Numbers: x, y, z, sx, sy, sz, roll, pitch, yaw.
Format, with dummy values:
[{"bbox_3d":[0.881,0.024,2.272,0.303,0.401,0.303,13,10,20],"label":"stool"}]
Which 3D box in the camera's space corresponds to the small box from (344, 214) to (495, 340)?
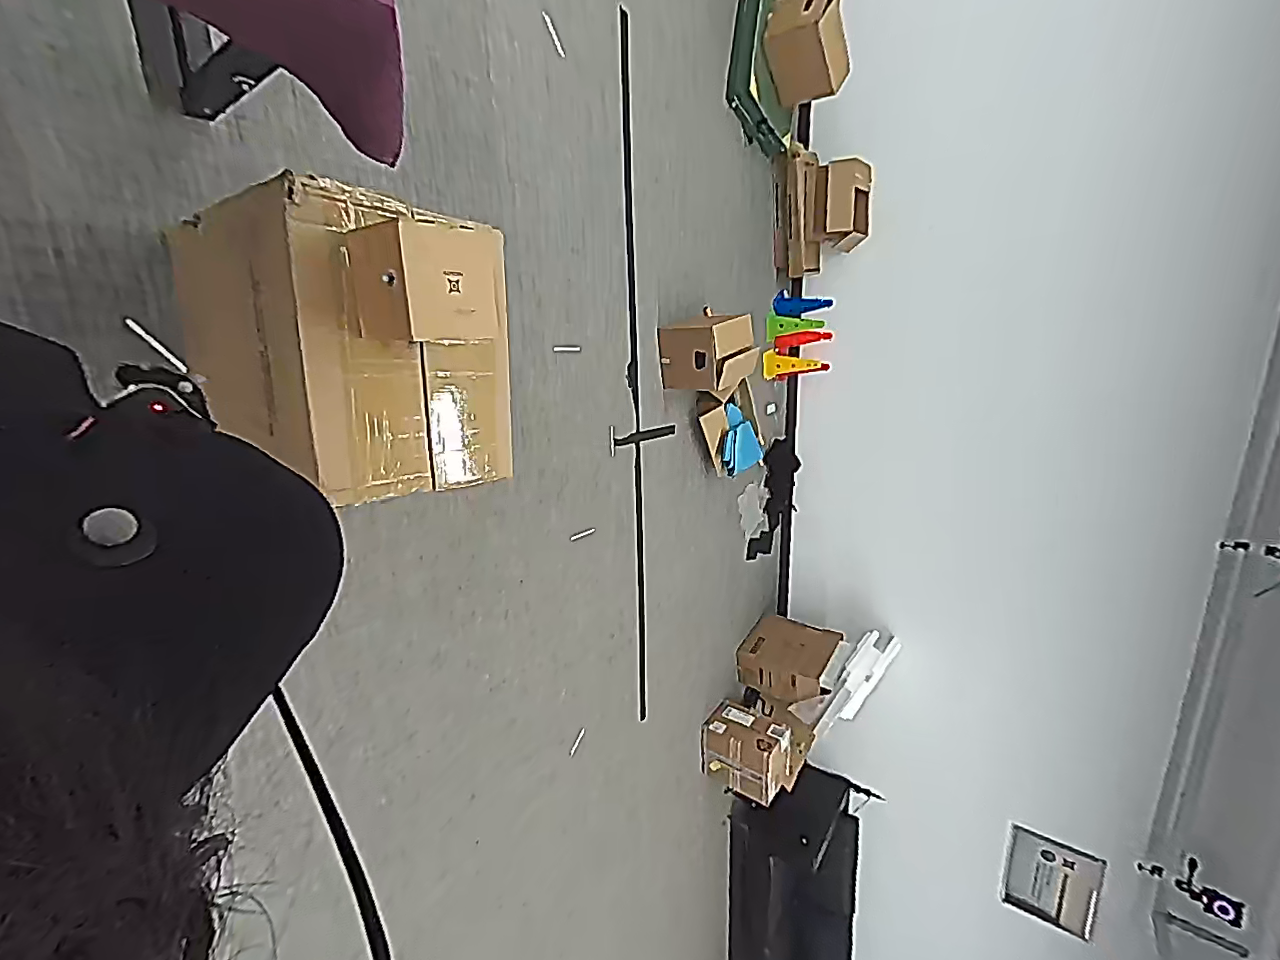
[{"bbox_3d":[-0.366,-0.325,0.899,0.168,0.176,0.179,-20,115,-49],"label":"small box"}]
